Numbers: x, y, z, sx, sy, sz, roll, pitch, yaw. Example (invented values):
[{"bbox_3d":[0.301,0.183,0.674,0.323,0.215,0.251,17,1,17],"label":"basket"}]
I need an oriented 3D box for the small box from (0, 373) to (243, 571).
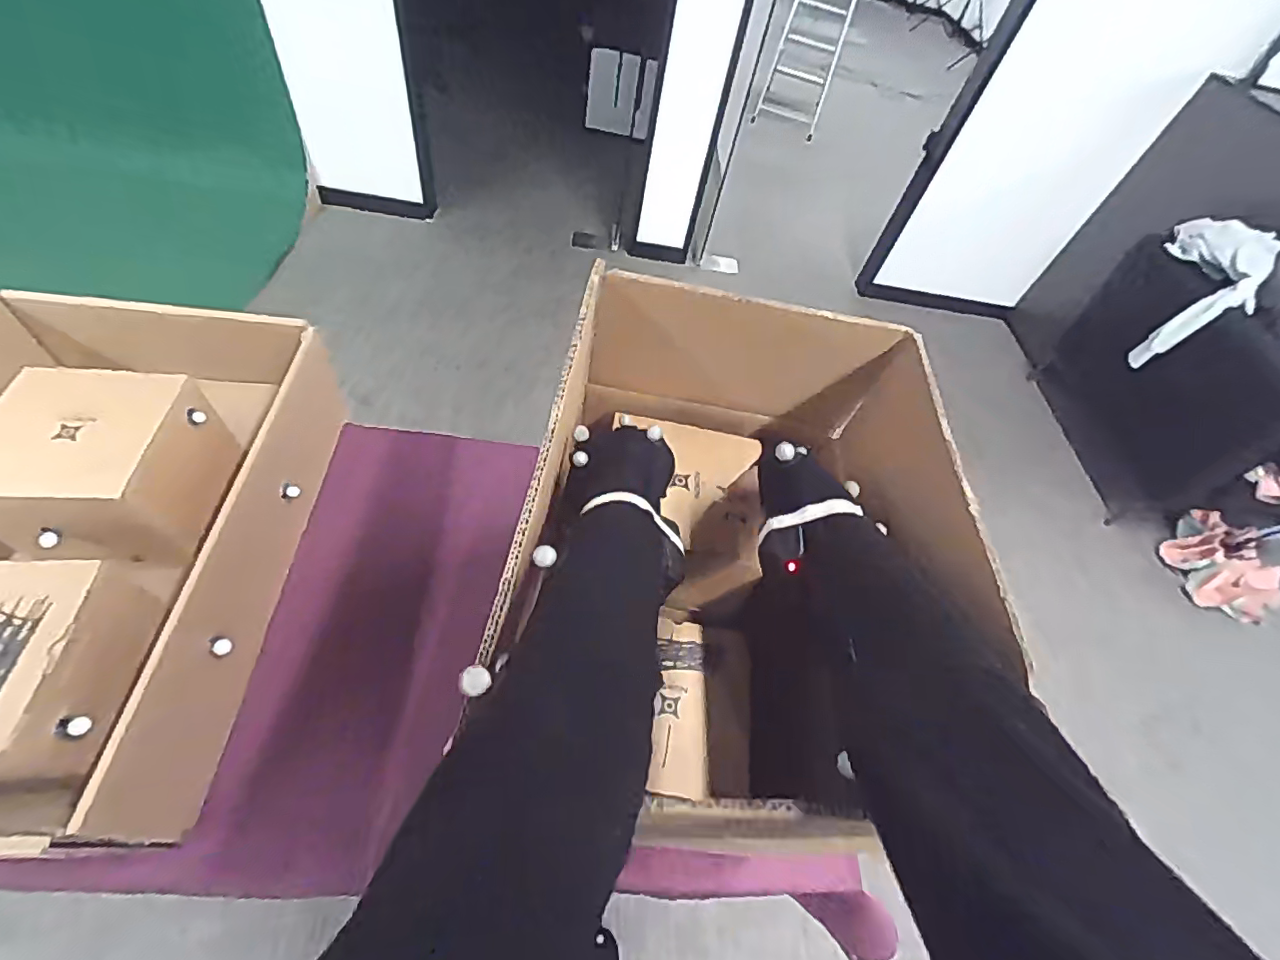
[{"bbox_3d":[-0.613,-0.002,0.637,0.168,0.176,0.179,1,54,-9],"label":"small box"}]
